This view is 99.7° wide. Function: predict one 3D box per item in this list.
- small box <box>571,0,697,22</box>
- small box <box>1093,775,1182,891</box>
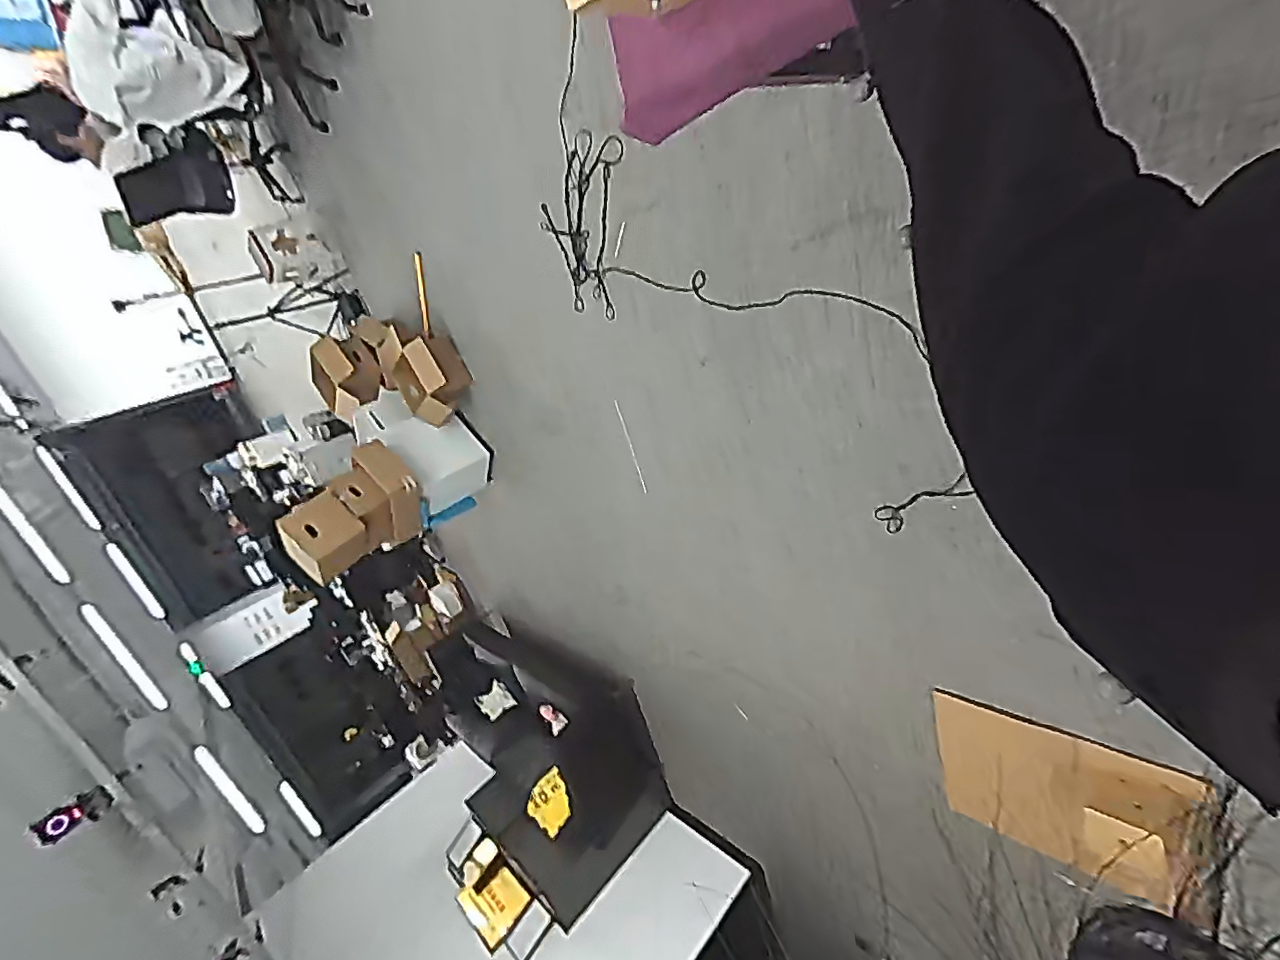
[{"bbox_3d":[0.013,-0.693,0.658,0.168,0.176,0.179,16,128,42],"label":"small box"},{"bbox_3d":[1.383,0.970,1.505,0.168,0.176,0.179,4,119,49],"label":"small box"}]
